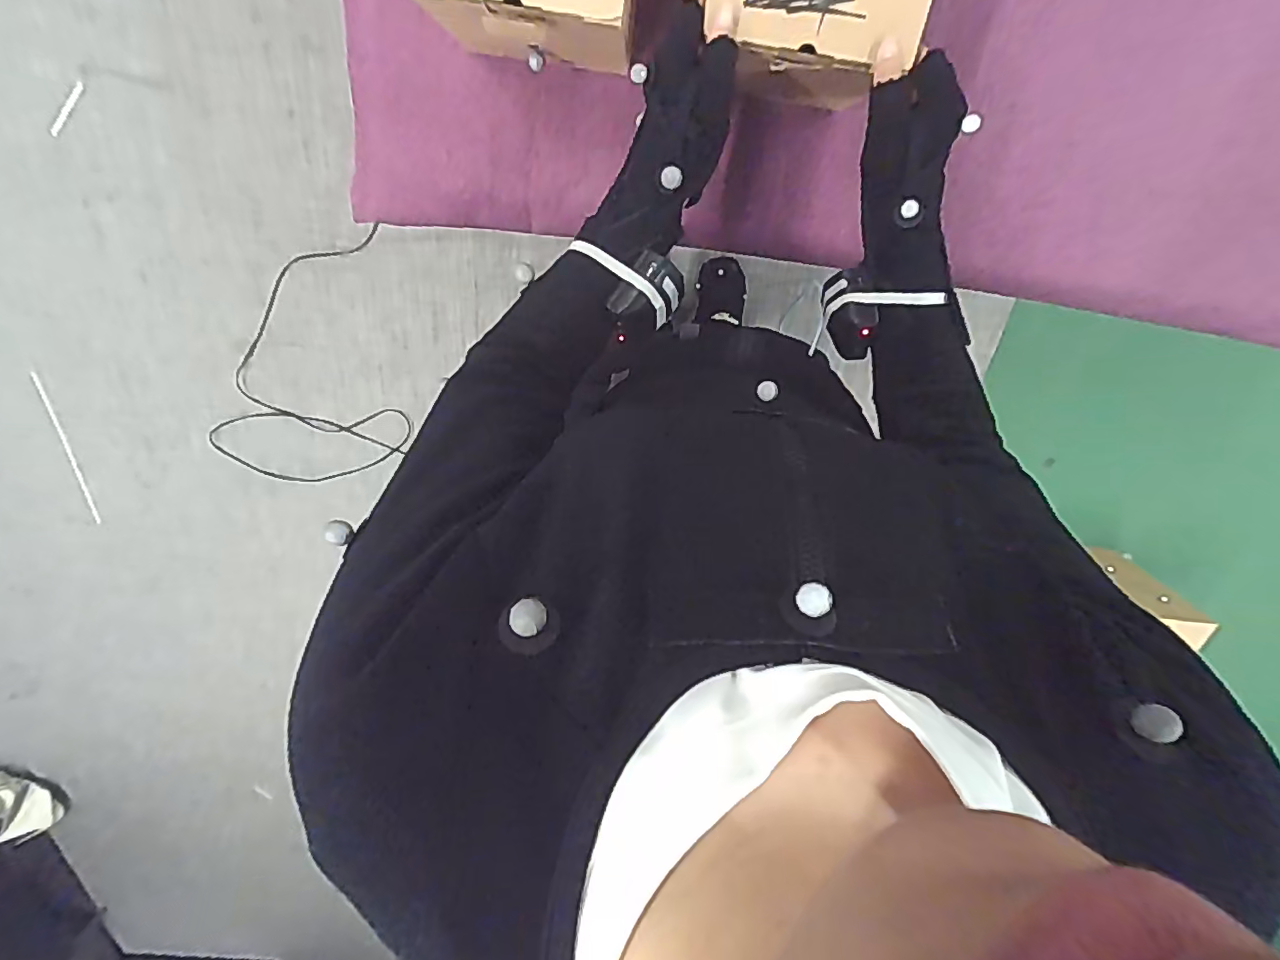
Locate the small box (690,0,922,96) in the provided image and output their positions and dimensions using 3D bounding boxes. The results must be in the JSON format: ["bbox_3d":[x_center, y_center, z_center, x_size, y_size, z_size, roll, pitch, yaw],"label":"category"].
[{"bbox_3d":[0.137,-0.442,0.444,0.168,0.176,0.179,7,116,-3],"label":"small box"}]

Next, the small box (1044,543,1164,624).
[{"bbox_3d":[1.377,0.305,1.617,0.179,0.176,0.168,7,117,-2],"label":"small box"}]

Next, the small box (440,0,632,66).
[{"bbox_3d":[-0.084,-0.468,0.433,0.168,0.176,0.179,7,117,-2],"label":"small box"}]
